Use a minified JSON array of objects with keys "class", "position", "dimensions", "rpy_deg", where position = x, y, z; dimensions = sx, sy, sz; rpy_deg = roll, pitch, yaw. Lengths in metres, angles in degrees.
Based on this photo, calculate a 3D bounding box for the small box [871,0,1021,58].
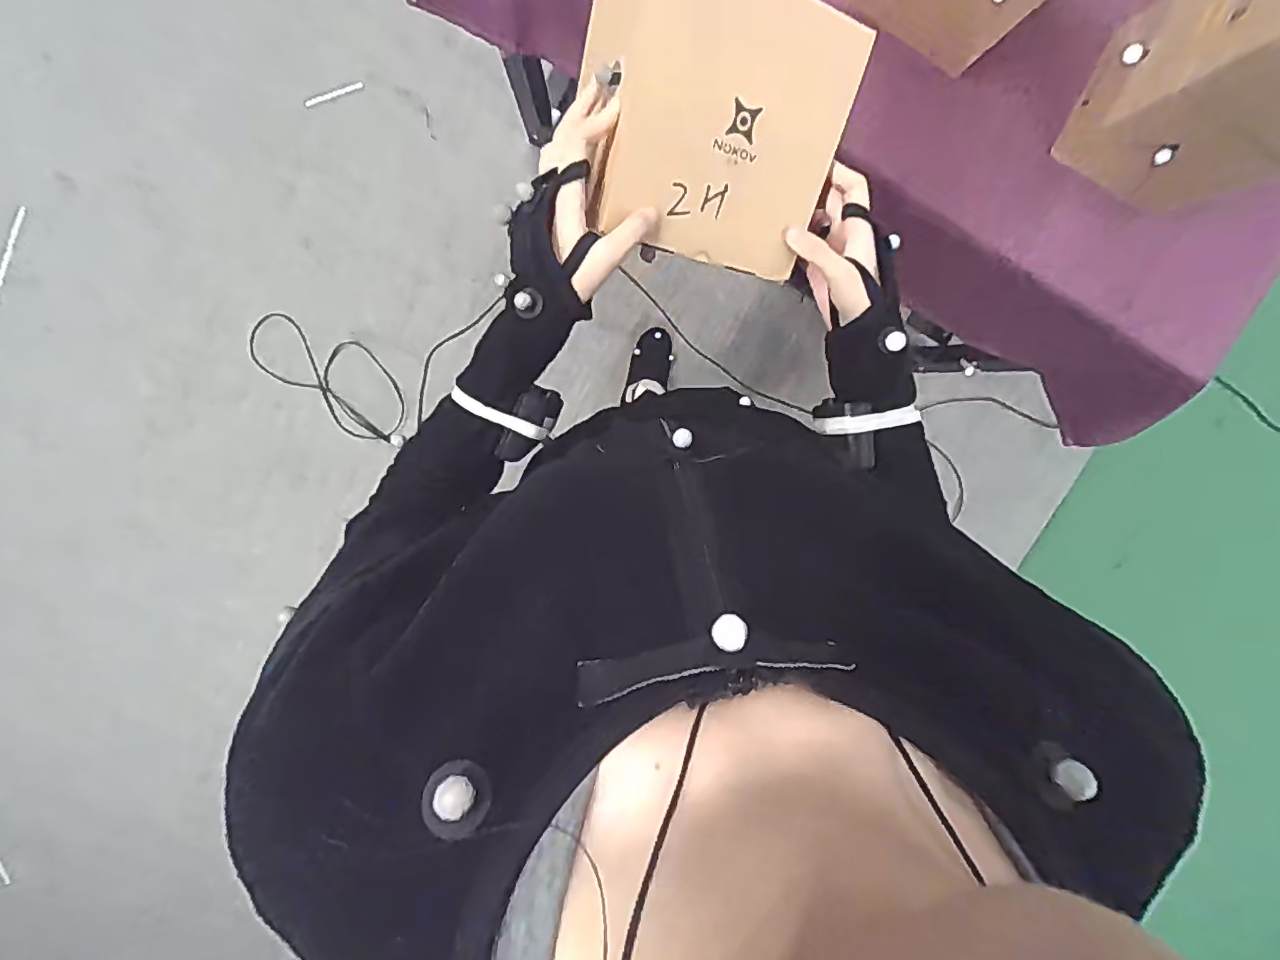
[{"class":"small box","position":[0.361,-0.608,0.573],"dimensions":[0.179,0.176,0.168],"rpy_deg":[28,98,-9]}]

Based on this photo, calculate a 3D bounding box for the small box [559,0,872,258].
[{"class":"small box","position":[0.040,-0.300,0.439],"dimensions":[0.168,0.176,0.179],"rpy_deg":[5,117,-23]}]

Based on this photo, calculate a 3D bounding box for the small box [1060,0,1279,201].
[{"class":"small box","position":[0.645,-0.452,0.617],"dimensions":[0.179,0.176,0.168],"rpy_deg":[25,99,-7]}]
